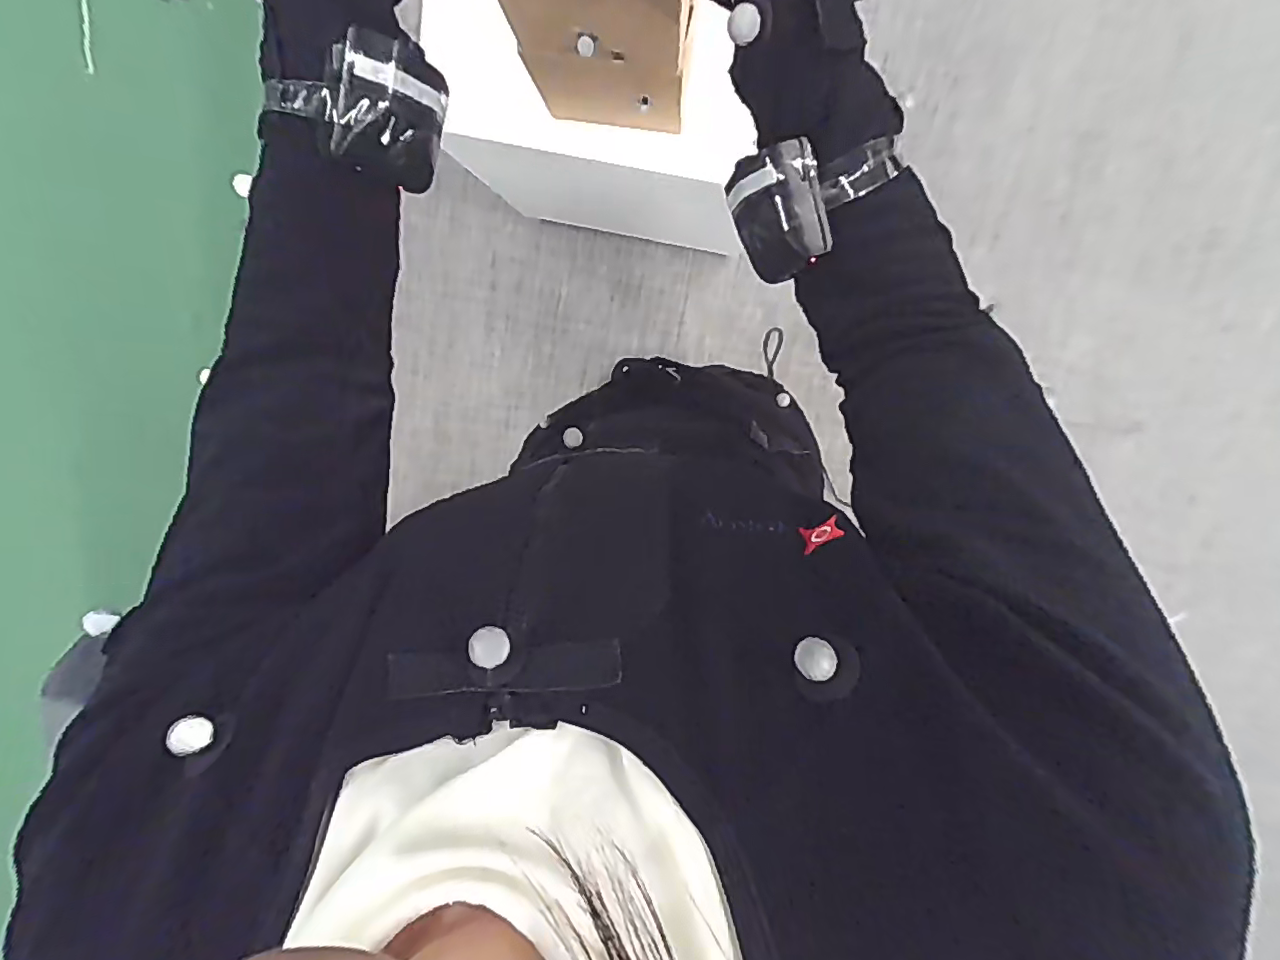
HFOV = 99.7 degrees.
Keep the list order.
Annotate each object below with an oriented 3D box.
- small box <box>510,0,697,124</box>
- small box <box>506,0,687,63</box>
[{"bbox_3d":[-0.030,-0.524,0.603,0.179,0.176,0.168,8,104,4],"label":"small box"},{"bbox_3d":[-0.036,-0.491,0.442,0.168,0.176,0.179,6,103,2],"label":"small box"}]
